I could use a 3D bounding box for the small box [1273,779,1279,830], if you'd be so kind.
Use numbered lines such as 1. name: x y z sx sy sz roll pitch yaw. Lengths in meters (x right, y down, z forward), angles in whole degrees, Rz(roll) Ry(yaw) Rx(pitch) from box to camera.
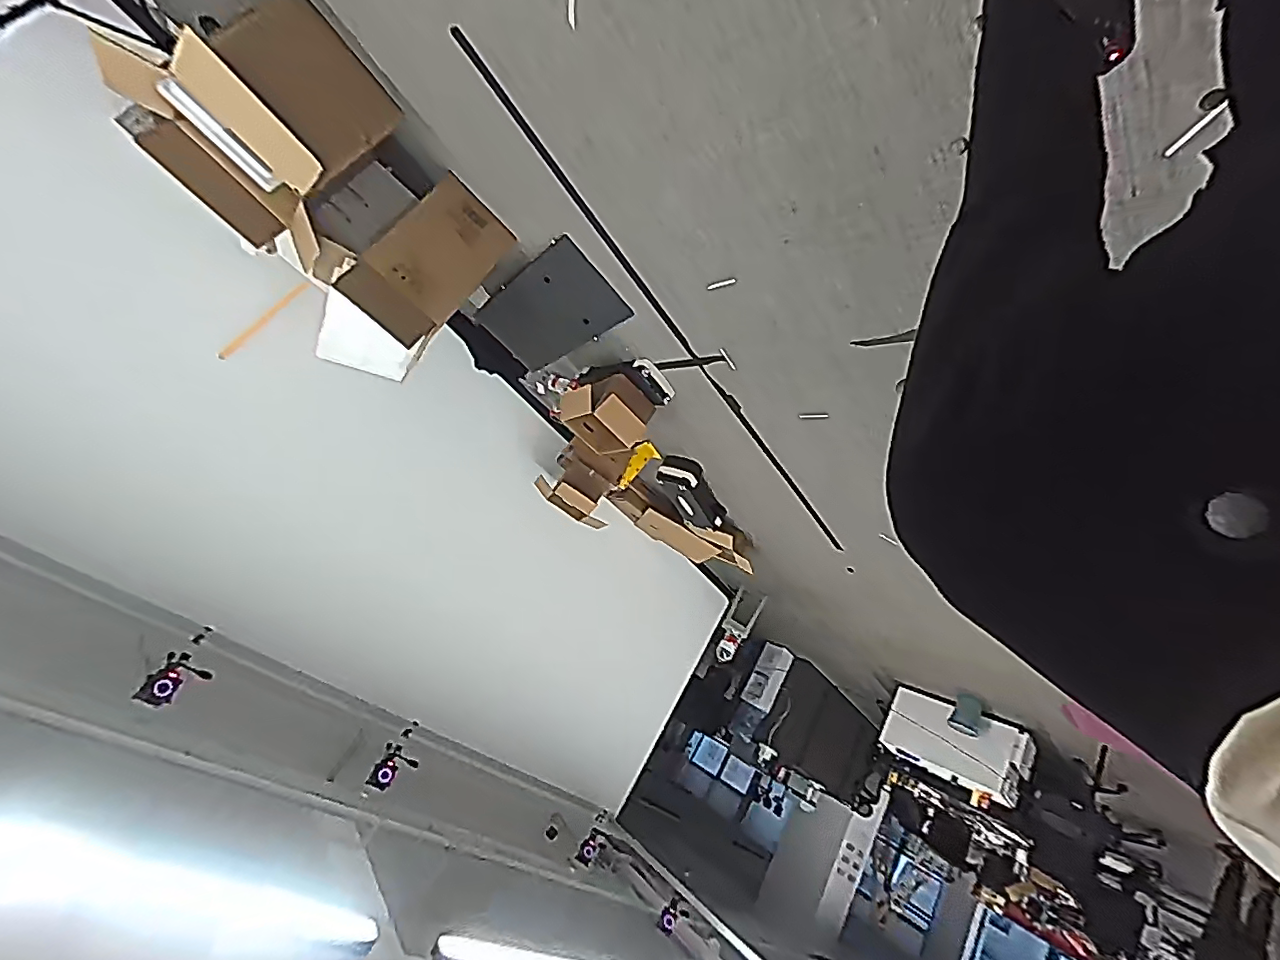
1. small box: 1.844 0.880 1.447 0.168 0.176 0.179 43 159 -30

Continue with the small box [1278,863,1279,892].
1. small box: 1.767 1.005 1.374 0.168 0.176 0.179 43 159 -30
